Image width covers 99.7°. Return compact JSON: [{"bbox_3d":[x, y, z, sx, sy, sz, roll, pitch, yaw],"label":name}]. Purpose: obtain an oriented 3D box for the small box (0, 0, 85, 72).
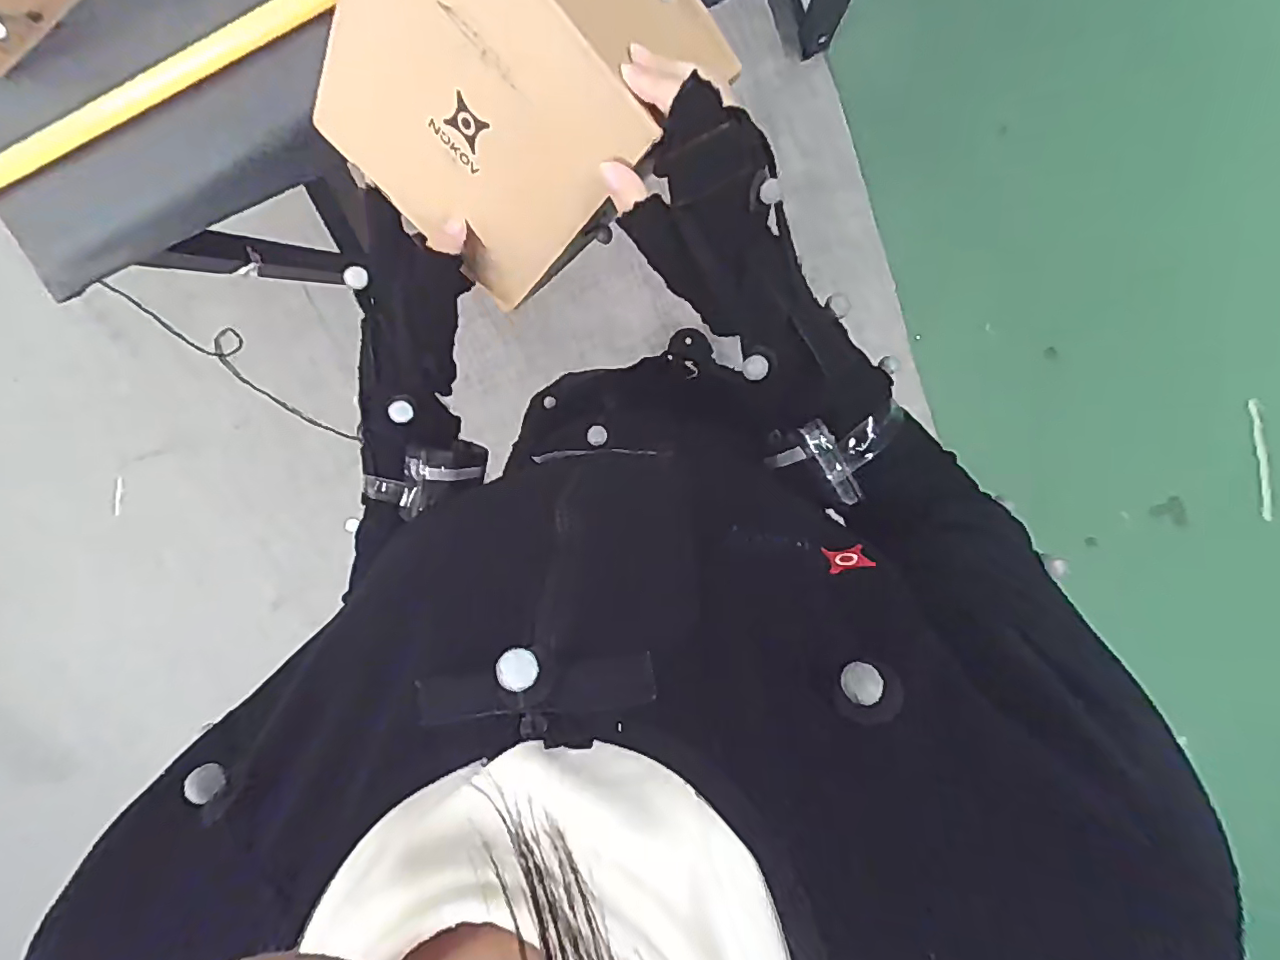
[{"bbox_3d":[-0.717,-0.550,0.514,0.168,0.176,0.179,-27,102,13],"label":"small box"}]
